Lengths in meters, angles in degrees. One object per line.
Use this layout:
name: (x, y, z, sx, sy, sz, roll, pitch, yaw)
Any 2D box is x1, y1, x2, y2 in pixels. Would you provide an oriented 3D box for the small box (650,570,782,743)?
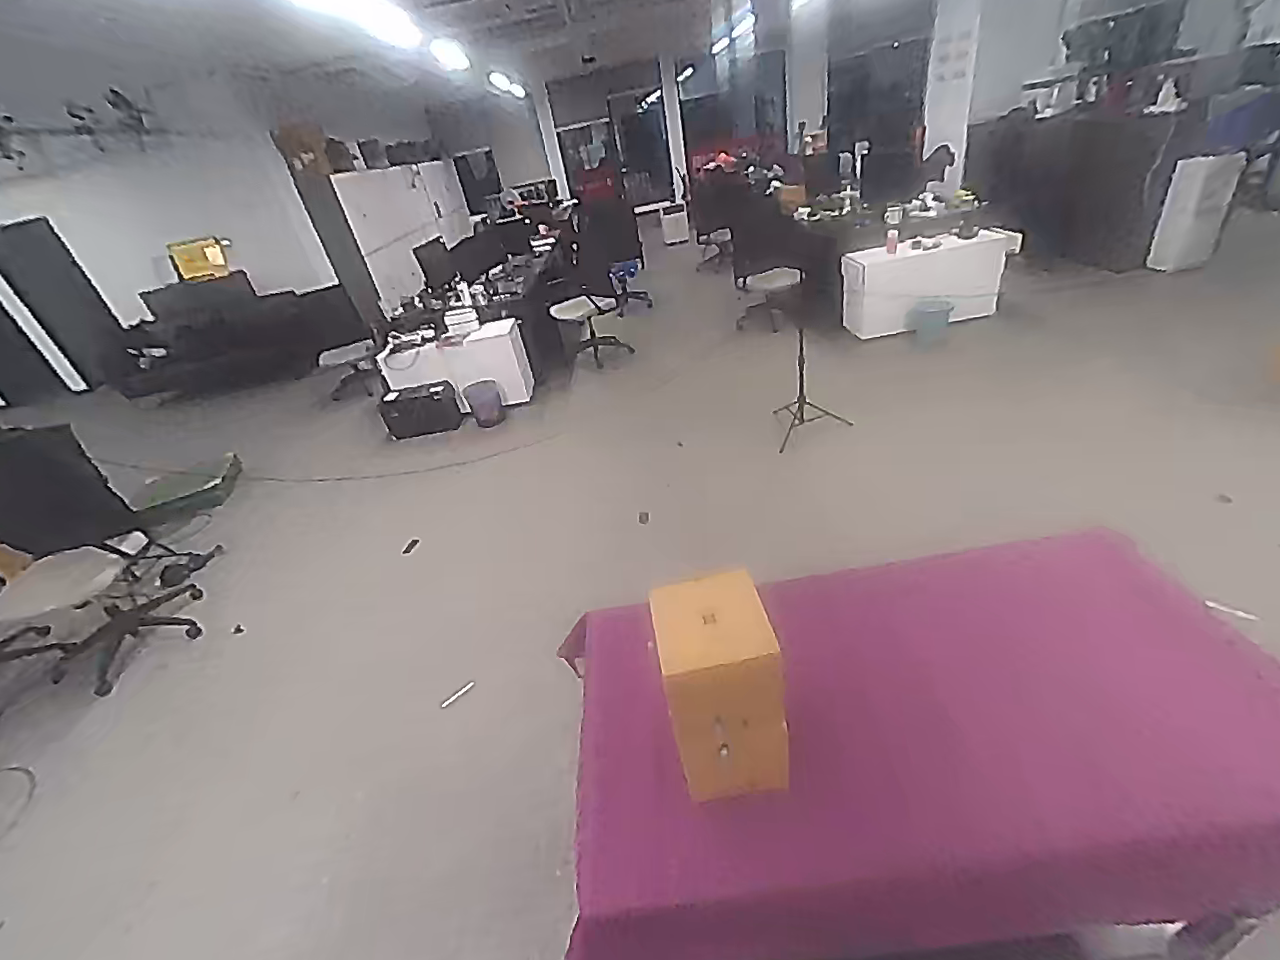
small box: (0.115, 0.271, 0.840, 0.168, 0.176, 0.179, -12, 32, 1)

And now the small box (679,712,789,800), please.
small box: (0.149, 0.407, 0.925, 0.168, 0.176, 0.179, -11, 32, 2)
